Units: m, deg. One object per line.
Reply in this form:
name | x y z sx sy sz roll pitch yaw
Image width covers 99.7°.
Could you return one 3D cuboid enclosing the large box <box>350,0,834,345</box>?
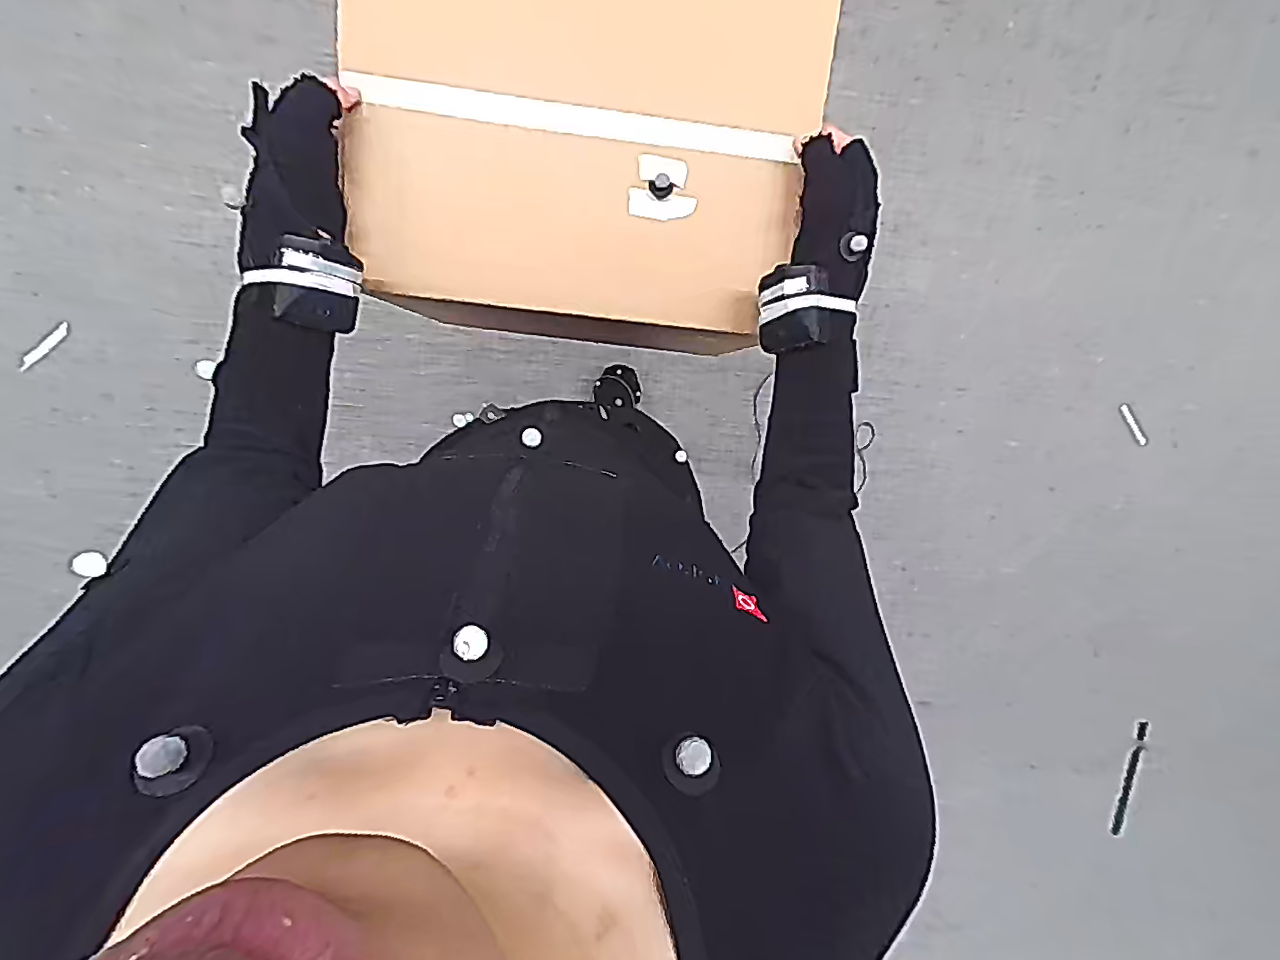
large box | -0.055 -0.337 0.608 0.408 0.320 0.320 5 100 -6
